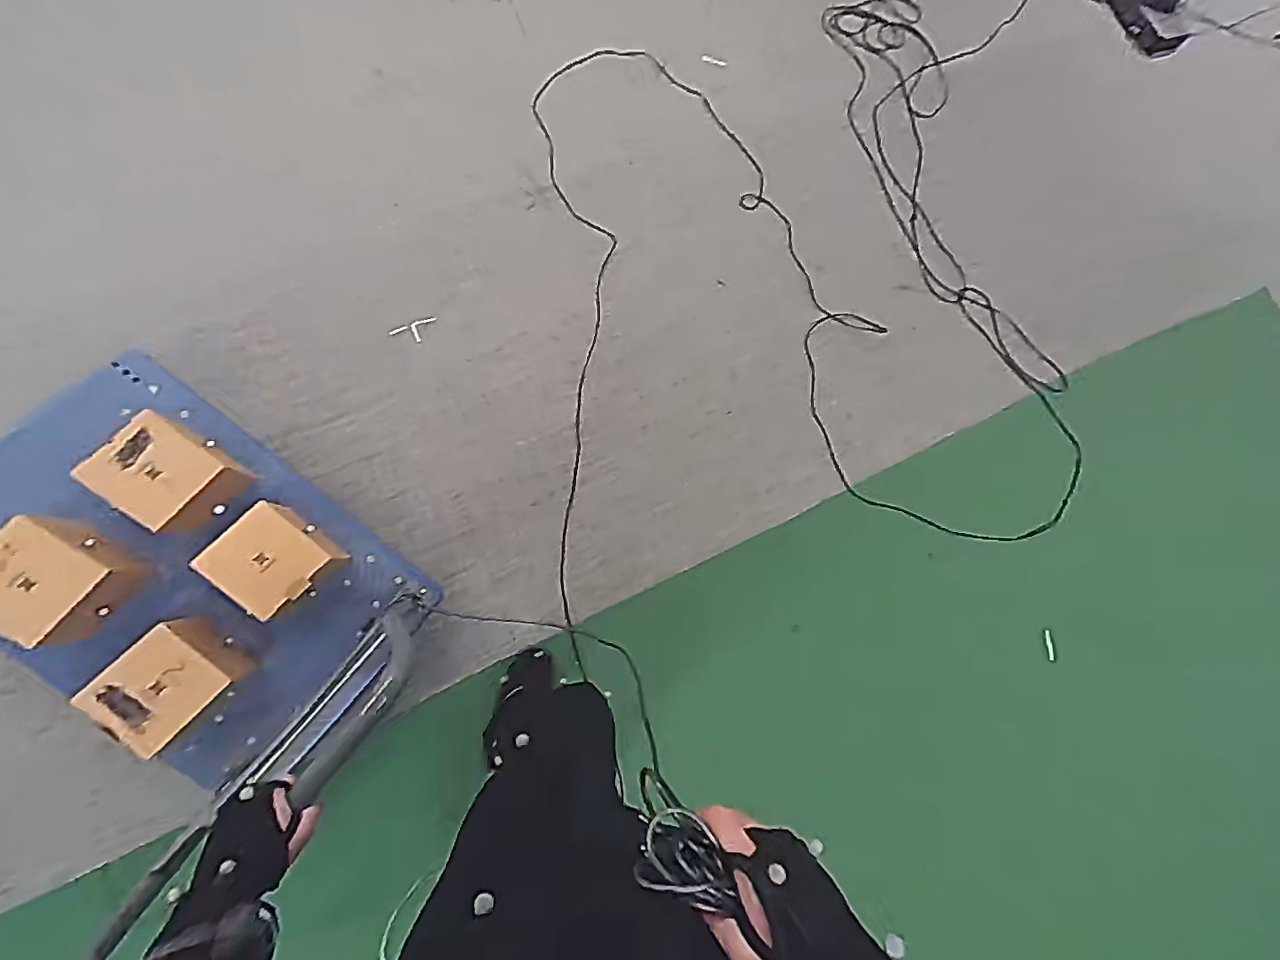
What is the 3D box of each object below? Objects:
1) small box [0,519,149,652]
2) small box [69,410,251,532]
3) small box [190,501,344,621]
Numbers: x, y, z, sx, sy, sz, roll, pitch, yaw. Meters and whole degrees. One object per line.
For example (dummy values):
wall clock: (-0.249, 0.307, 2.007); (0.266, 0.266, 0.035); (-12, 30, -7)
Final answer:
small box: (-1.085, 0.189, 1.001); (0.179, 0.176, 0.168); (38, 72, -9)
small box: (-0.937, -0.006, 1.078); (0.179, 0.176, 0.168); (40, 73, -9)
small box: (-0.750, 0.168, 1.112); (0.179, 0.176, 0.168); (42, 72, -8)
